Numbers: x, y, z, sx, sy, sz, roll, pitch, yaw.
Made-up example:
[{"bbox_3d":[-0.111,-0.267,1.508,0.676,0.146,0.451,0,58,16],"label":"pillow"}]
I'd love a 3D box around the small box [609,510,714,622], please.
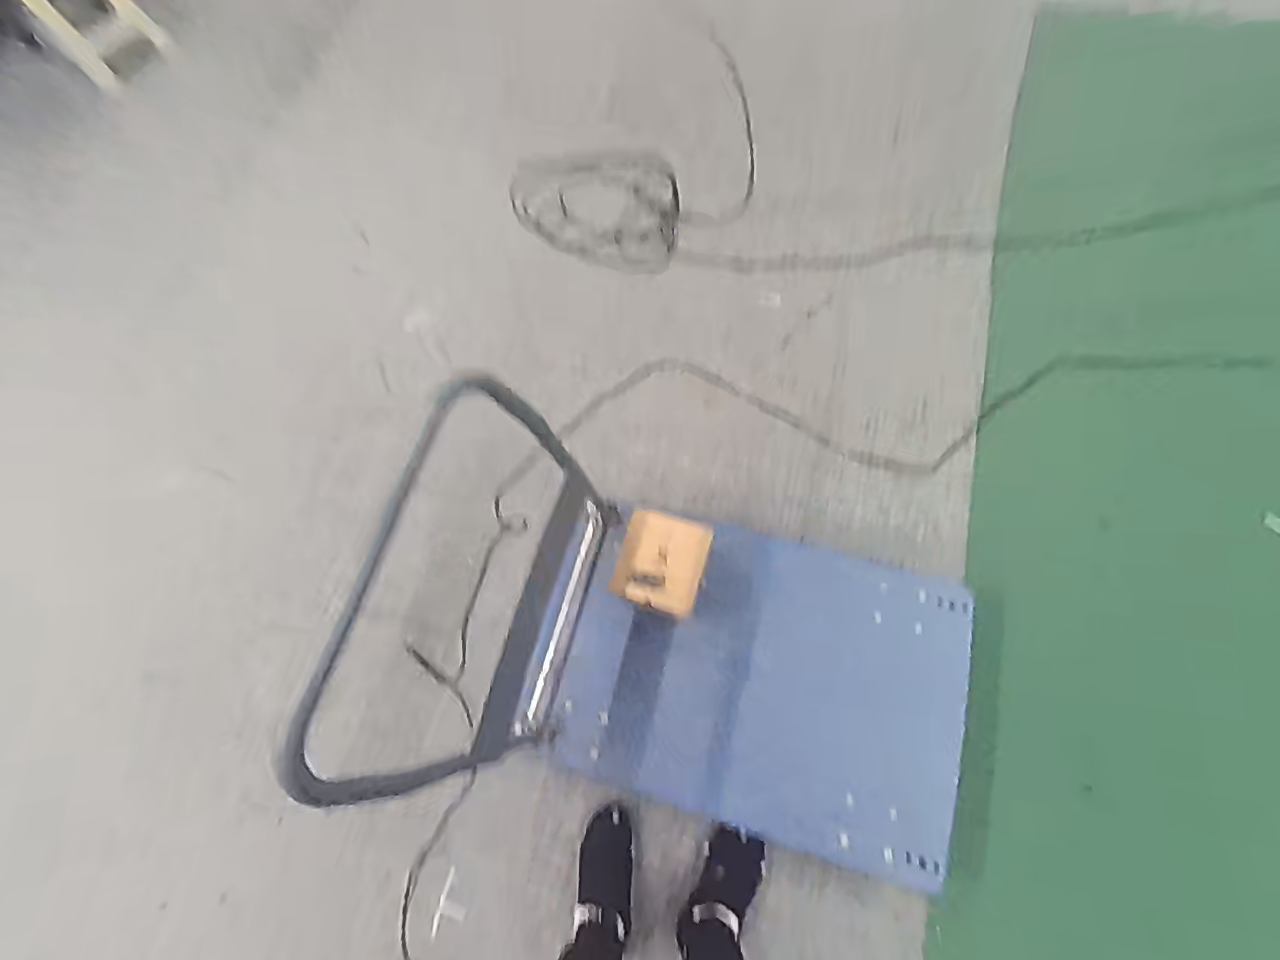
[{"bbox_3d":[0.052,0.186,1.125,0.168,0.176,0.179,16,73,11],"label":"small box"}]
